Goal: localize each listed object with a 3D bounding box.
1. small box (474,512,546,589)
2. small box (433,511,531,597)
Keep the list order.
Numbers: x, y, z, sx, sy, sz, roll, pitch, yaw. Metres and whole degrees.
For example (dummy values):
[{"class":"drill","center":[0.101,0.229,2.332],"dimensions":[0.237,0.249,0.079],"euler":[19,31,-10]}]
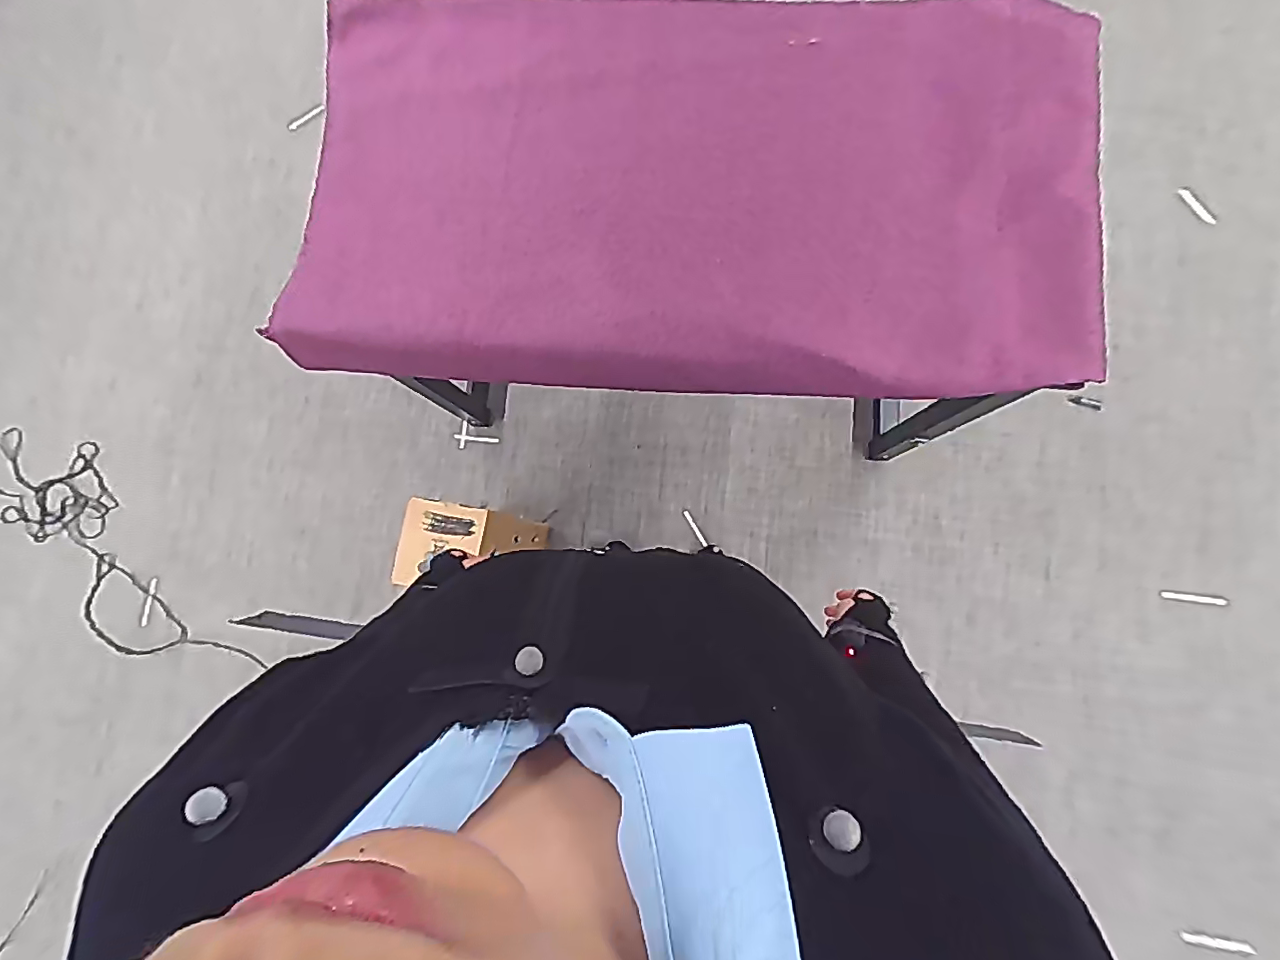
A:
[{"class":"small box","center":[-0.363,0.194,1.457],"dimensions":[0.168,0.176,0.179],"euler":[12,83,6]},{"class":"small box","center":[-0.368,0.176,1.293],"dimensions":[0.168,0.176,0.179],"euler":[7,83,5]}]
